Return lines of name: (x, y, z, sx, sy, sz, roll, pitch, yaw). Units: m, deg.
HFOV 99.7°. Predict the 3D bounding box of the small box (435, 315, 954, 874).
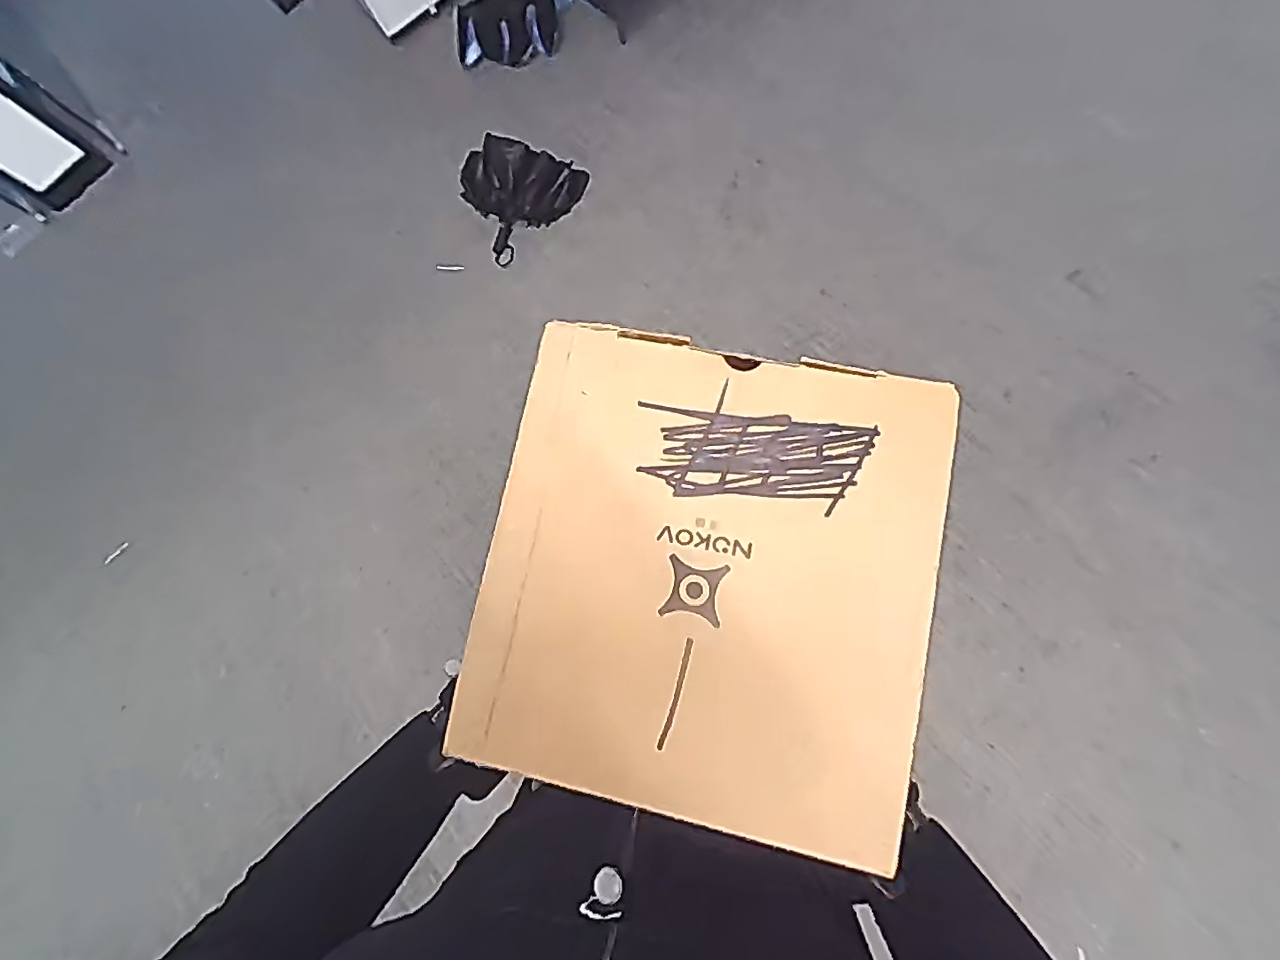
small box: (0.028, 0.044, 0.280, 0.168, 0.176, 0.179, 12, 83, 8)
